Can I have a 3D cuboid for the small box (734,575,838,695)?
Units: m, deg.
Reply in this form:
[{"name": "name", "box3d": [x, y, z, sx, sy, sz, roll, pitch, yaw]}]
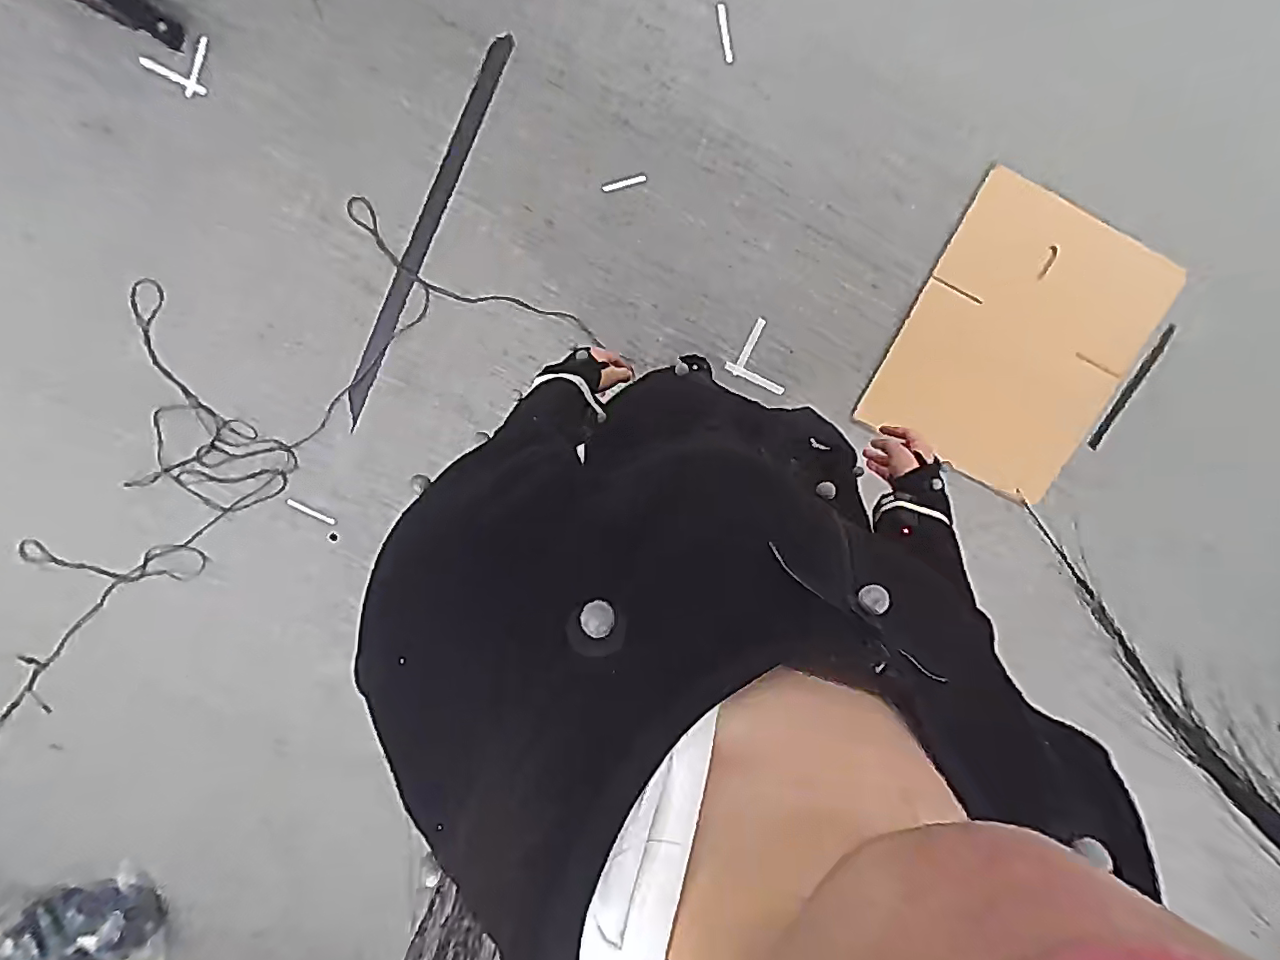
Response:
[{"name": "small box", "box3d": [0.315, 0.334, 1.189, 0.168, 0.176, 0.179, -14, 102, 3]}]
